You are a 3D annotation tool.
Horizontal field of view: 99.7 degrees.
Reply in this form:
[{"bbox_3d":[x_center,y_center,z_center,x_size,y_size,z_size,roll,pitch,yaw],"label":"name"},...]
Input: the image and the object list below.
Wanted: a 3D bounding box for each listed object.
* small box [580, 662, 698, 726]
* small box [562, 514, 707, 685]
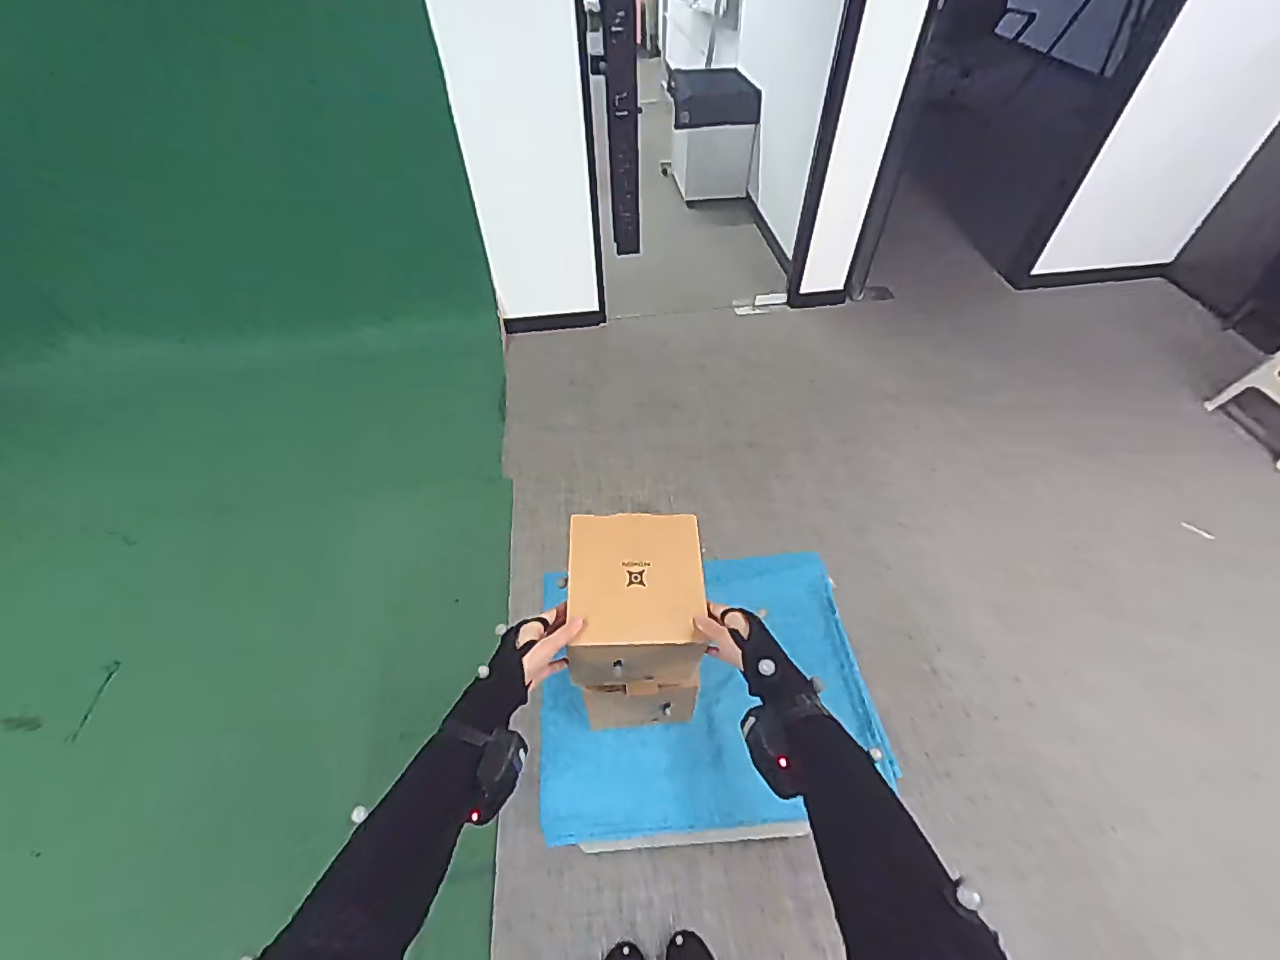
[{"bbox_3d":[-0.004,0.275,0.851,0.168,0.176,0.179,-3,48,-3],"label":"small box"},{"bbox_3d":[-0.011,0.162,0.713,0.168,0.176,0.179,1,52,-4],"label":"small box"}]
